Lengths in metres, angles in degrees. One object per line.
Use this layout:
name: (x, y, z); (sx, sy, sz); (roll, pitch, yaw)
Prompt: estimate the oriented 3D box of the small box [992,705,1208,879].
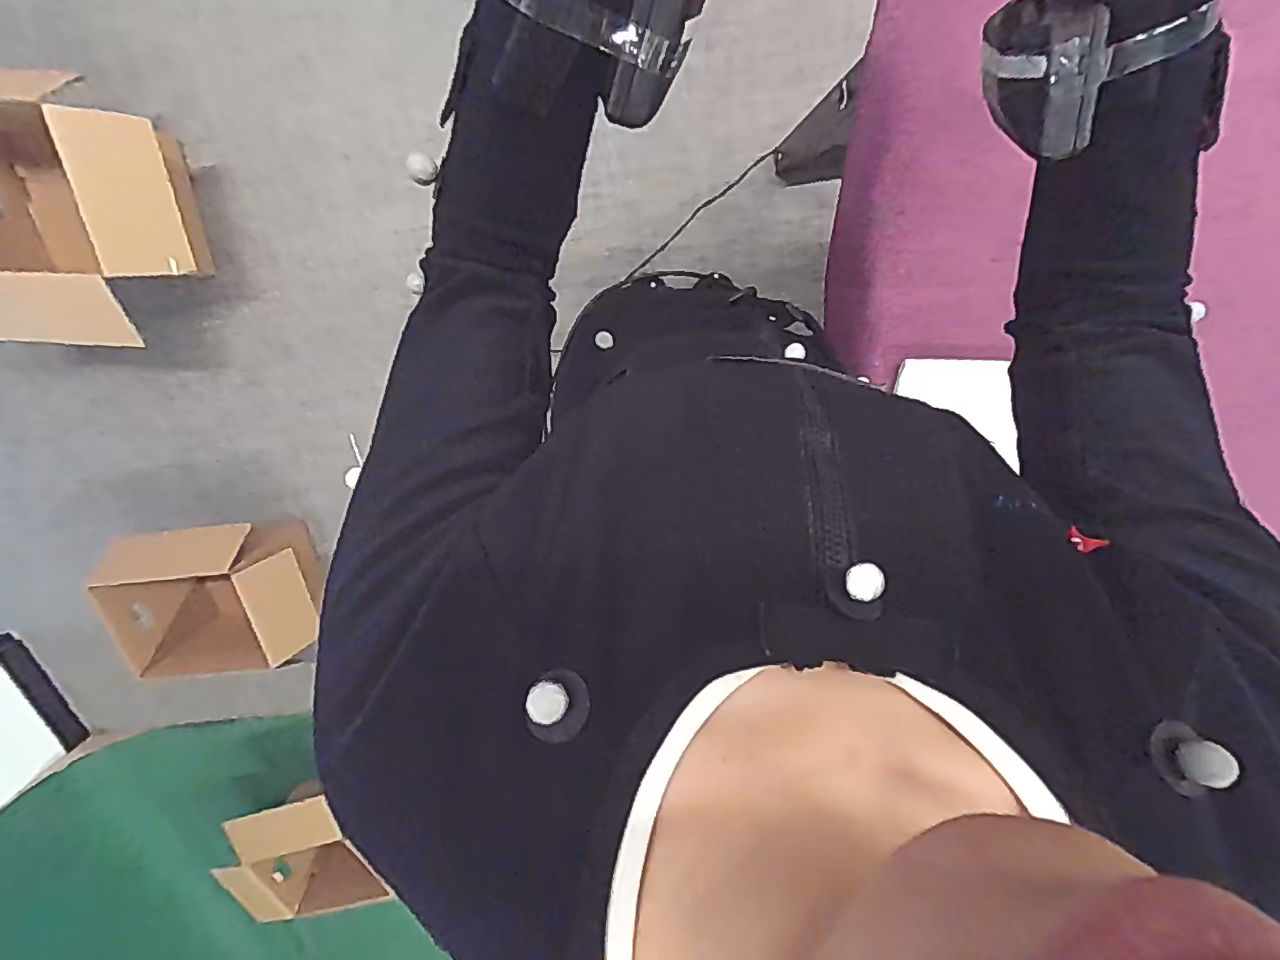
small box: (0.670, 0.462, 0.817); (0.179, 0.176, 0.168); (-5, 112, 4)
